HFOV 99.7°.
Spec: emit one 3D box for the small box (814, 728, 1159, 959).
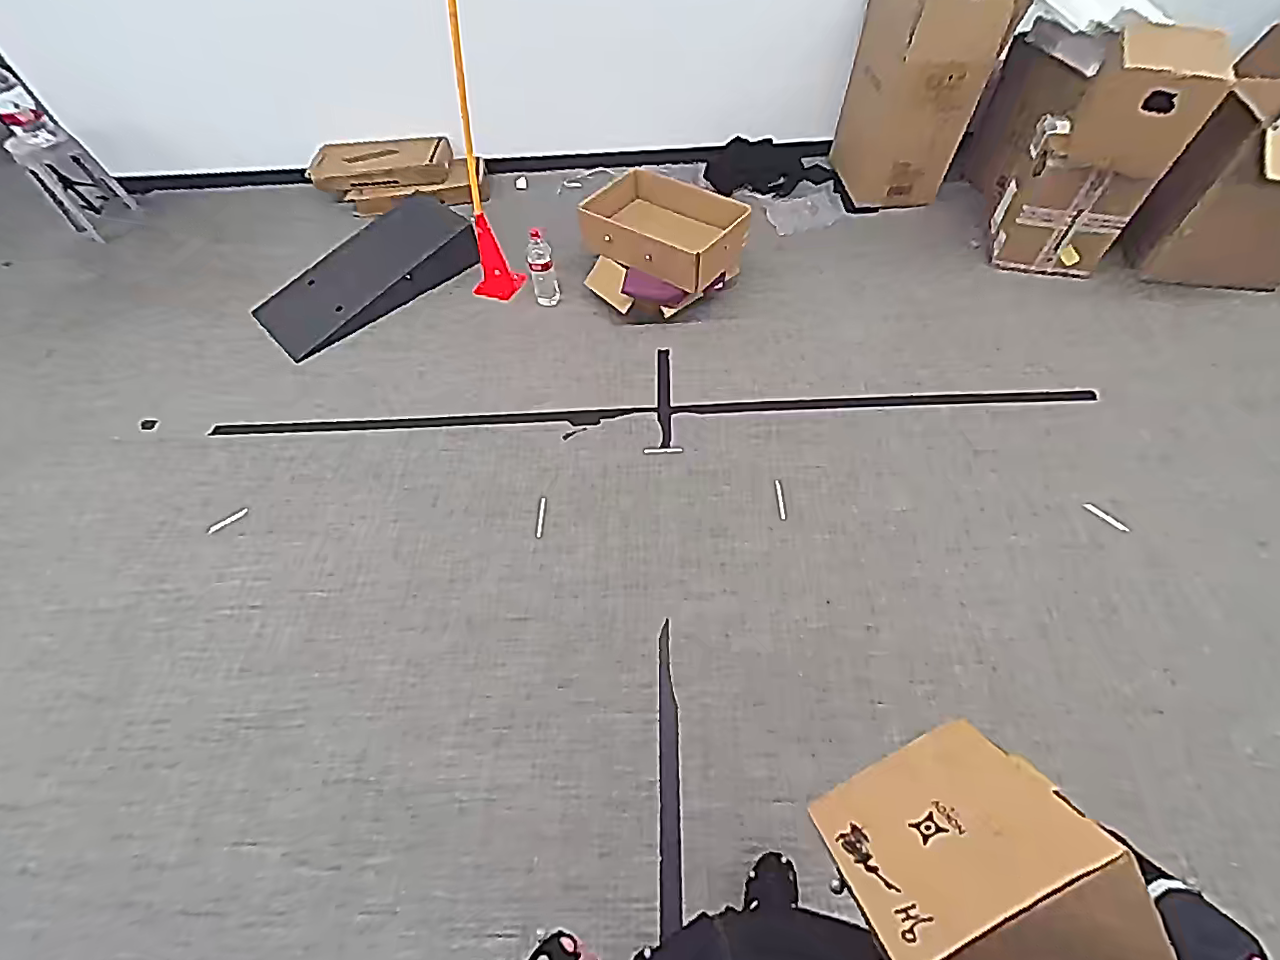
[{"bbox_3d":[0.286,0.360,0.458,0.179,0.168,0.176,-27,97,-2],"label":"small box"}]
